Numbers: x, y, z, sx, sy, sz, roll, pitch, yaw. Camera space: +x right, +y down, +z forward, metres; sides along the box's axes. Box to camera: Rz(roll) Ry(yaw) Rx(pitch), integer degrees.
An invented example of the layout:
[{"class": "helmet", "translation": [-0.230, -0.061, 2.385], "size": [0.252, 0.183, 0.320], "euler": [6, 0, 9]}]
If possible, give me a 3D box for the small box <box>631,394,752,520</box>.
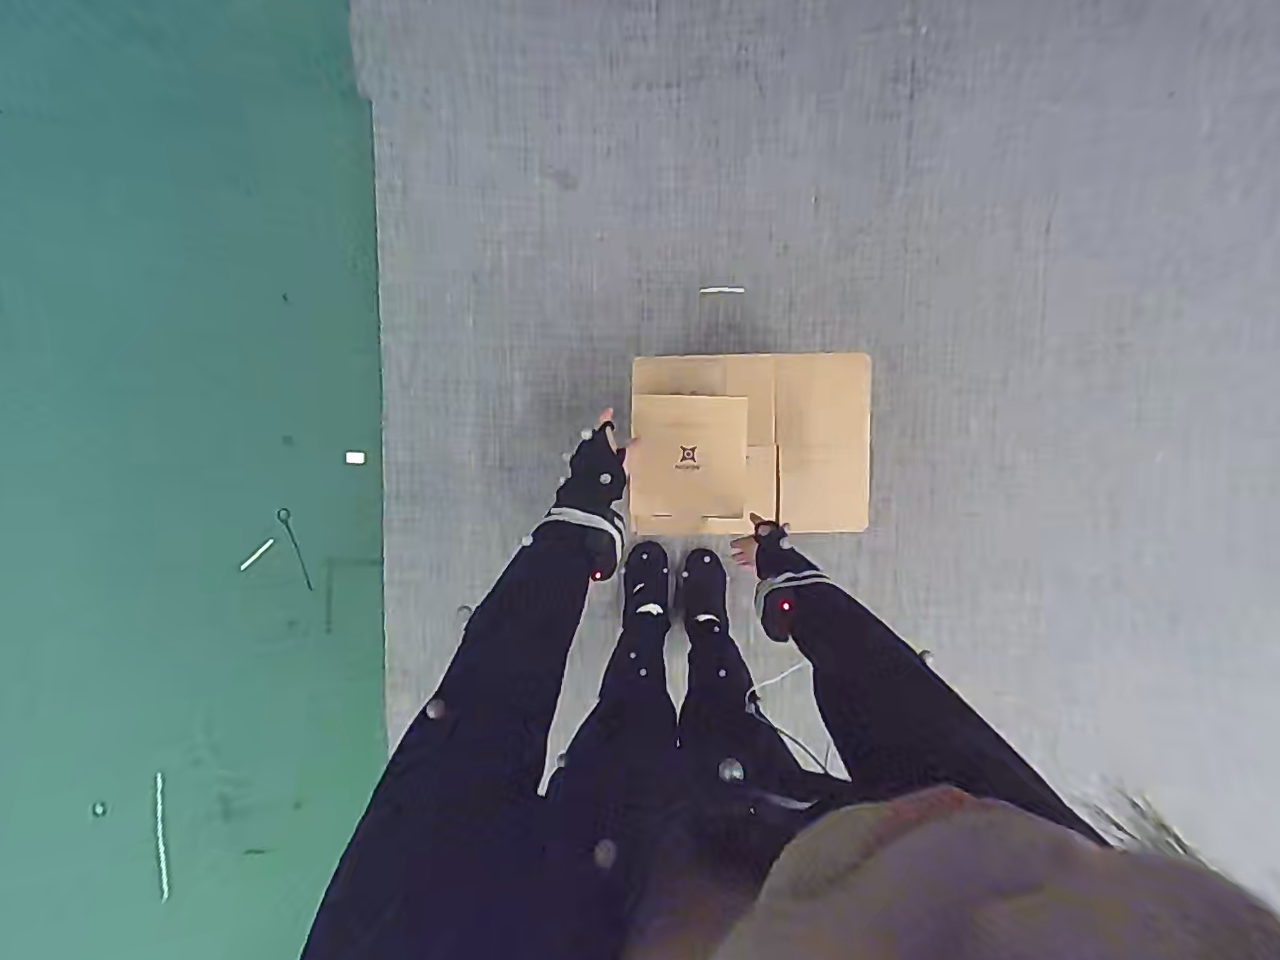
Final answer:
[{"class": "small box", "translation": [0.072, -0.040, 0.836], "size": [0.168, 0.176, 0.179], "euler": [1, 95, 0]}]
